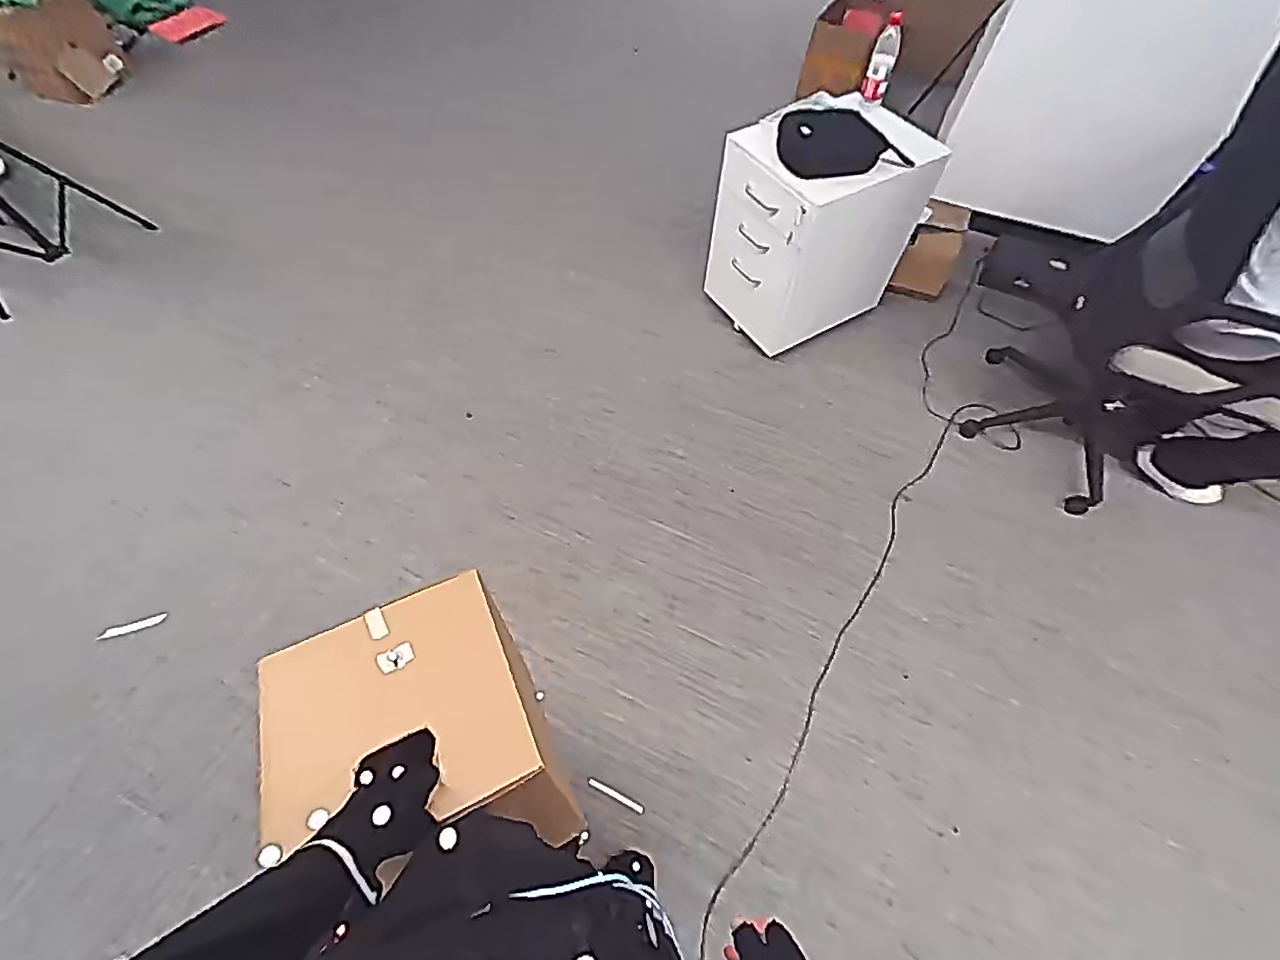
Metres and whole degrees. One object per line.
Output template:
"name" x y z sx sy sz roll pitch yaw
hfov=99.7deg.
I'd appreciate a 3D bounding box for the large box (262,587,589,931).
"large box" -0.305 0.435 0.838 0.320 0.408 0.320 -22 52 -14
